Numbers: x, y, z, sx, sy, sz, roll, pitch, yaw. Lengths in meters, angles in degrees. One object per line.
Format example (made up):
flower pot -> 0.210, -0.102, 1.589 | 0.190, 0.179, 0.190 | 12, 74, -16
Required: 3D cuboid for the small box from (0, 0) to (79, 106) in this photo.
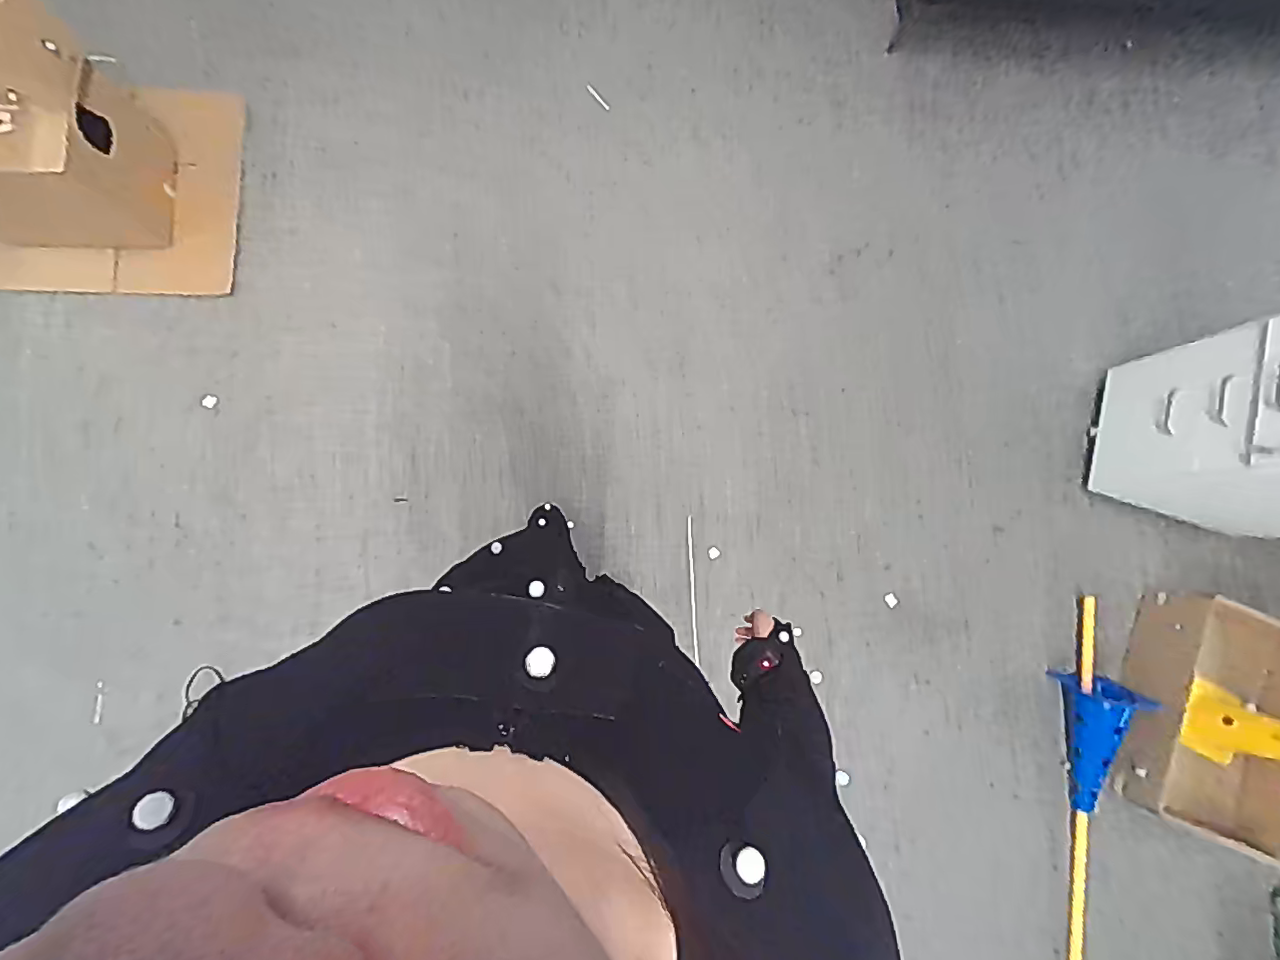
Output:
small box -> -1.311, -0.899, 1.097 | 0.179, 0.176, 0.168 | 2, 83, -4
